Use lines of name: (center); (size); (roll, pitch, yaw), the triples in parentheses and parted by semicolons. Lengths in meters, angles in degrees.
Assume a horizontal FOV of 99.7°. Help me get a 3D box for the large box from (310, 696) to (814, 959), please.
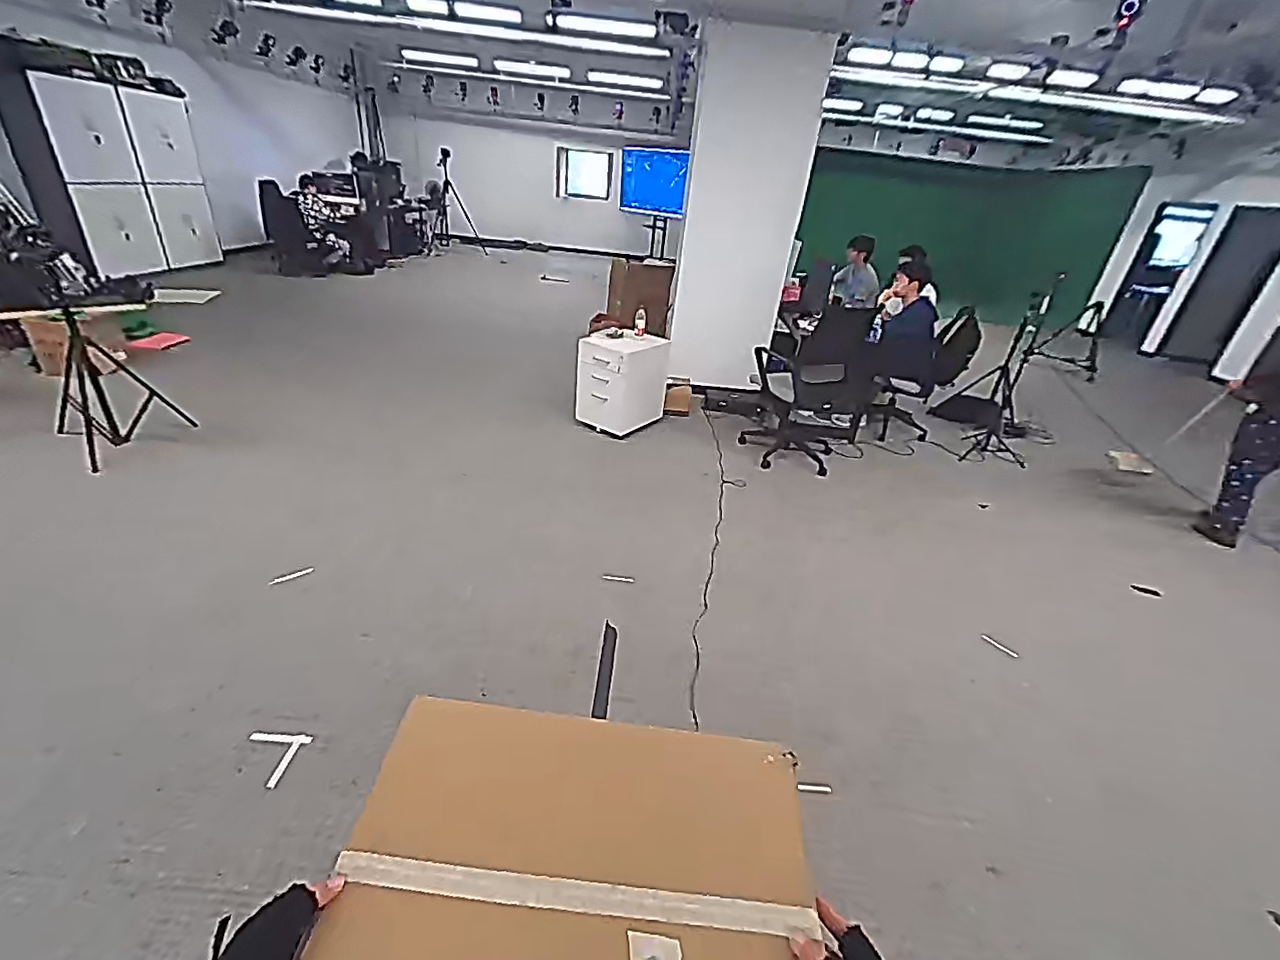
large box: (-0.069, 0.466, 0.557); (0.408, 0.320, 0.320); (8, 37, 0)
